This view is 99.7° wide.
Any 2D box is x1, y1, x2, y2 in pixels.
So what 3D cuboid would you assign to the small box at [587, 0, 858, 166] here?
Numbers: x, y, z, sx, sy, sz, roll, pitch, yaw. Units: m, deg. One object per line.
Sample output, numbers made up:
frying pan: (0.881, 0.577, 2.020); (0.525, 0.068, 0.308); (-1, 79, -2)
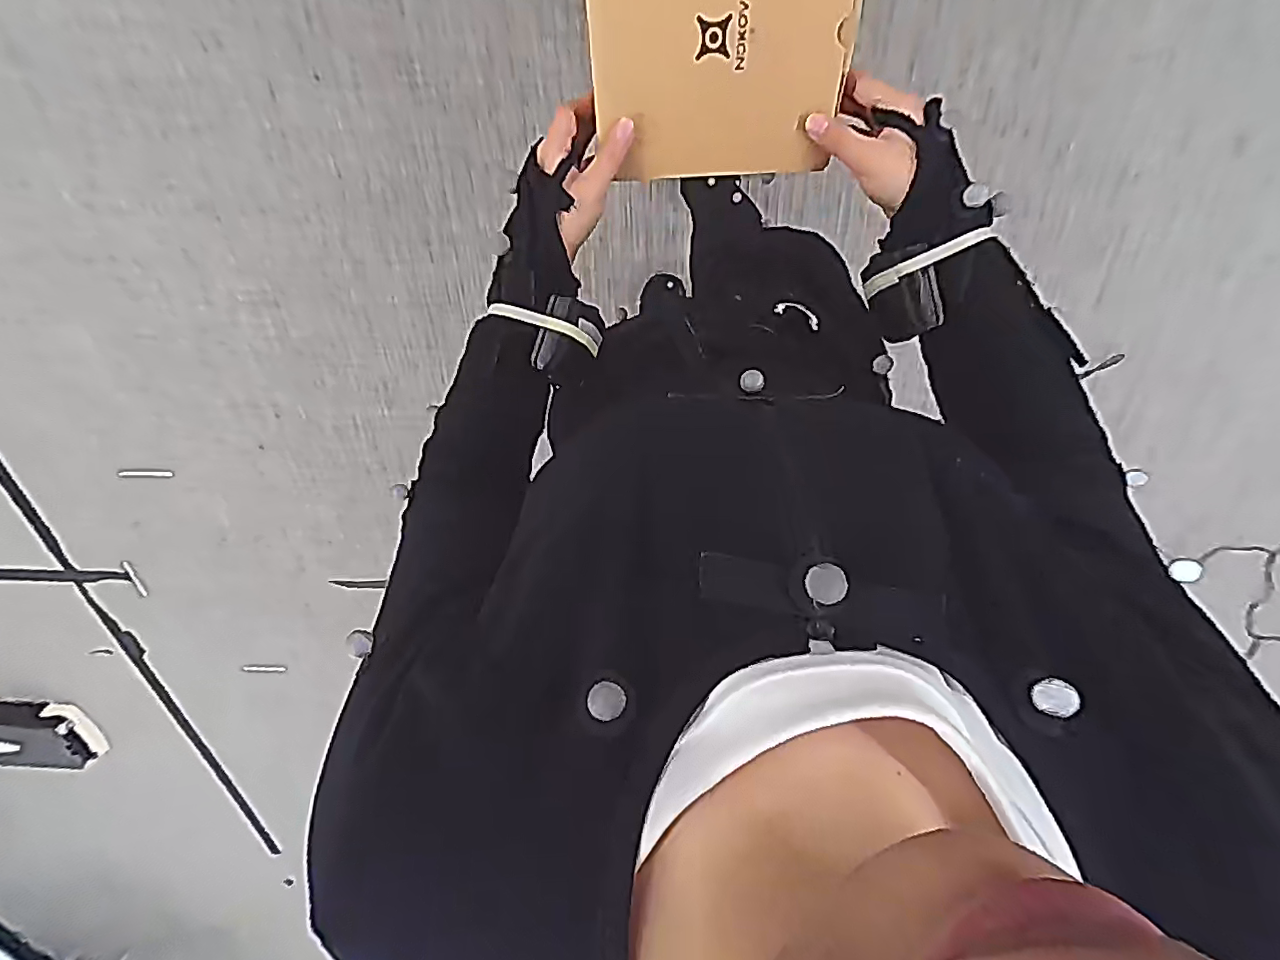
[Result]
small box: (0.052, -0.353, 0.410); (0.179, 0.176, 0.168); (-4, 134, 0)
